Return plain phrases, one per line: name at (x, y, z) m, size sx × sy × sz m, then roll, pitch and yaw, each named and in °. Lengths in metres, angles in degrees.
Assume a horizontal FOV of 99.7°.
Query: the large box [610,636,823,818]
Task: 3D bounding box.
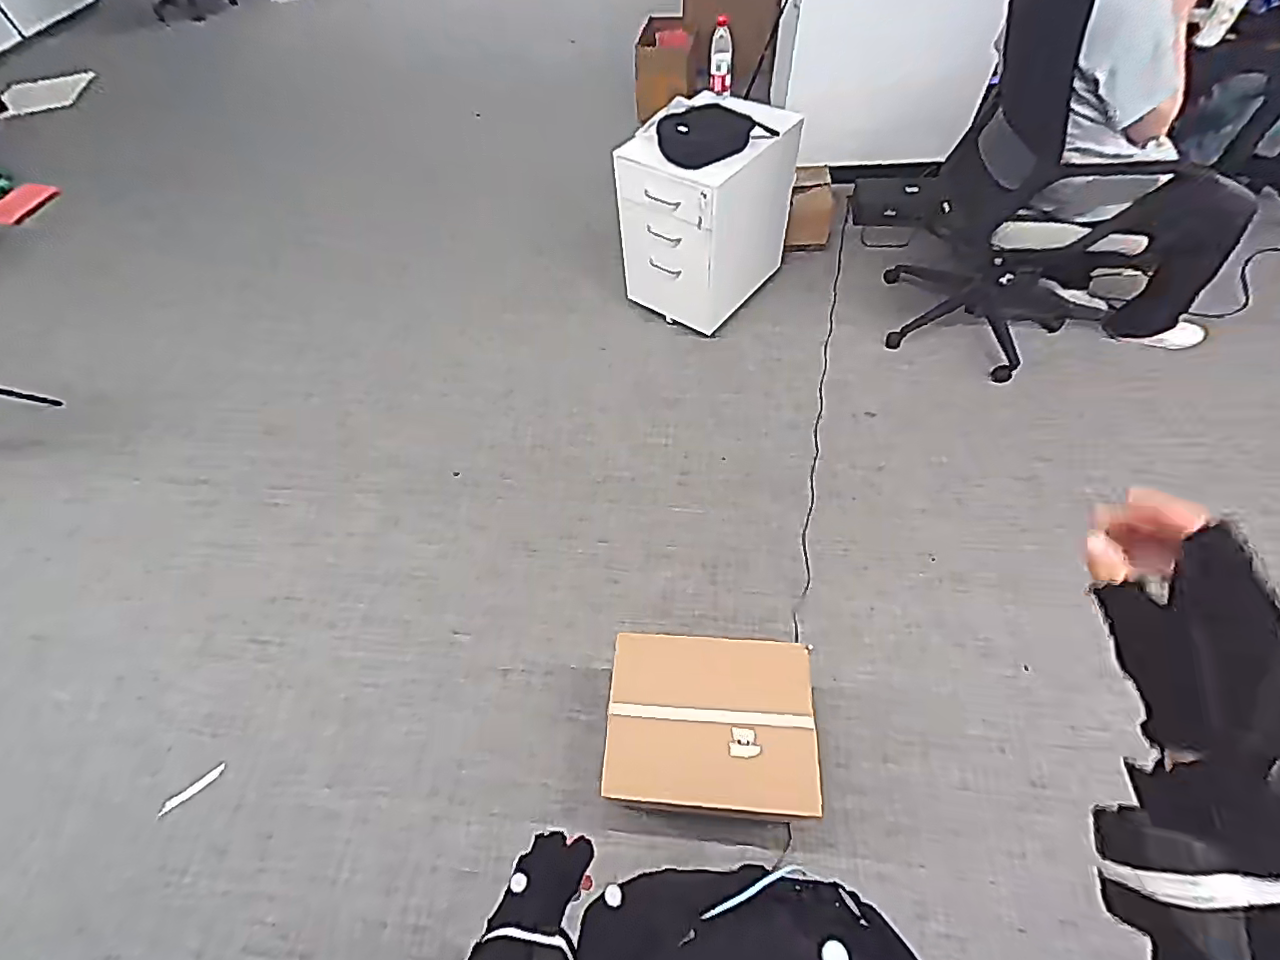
large box at (0.156, 0.557, 1.208) m, size 0.408 × 0.320 × 0.320 m, roll 2°, pitch 57°, yaw 6°
